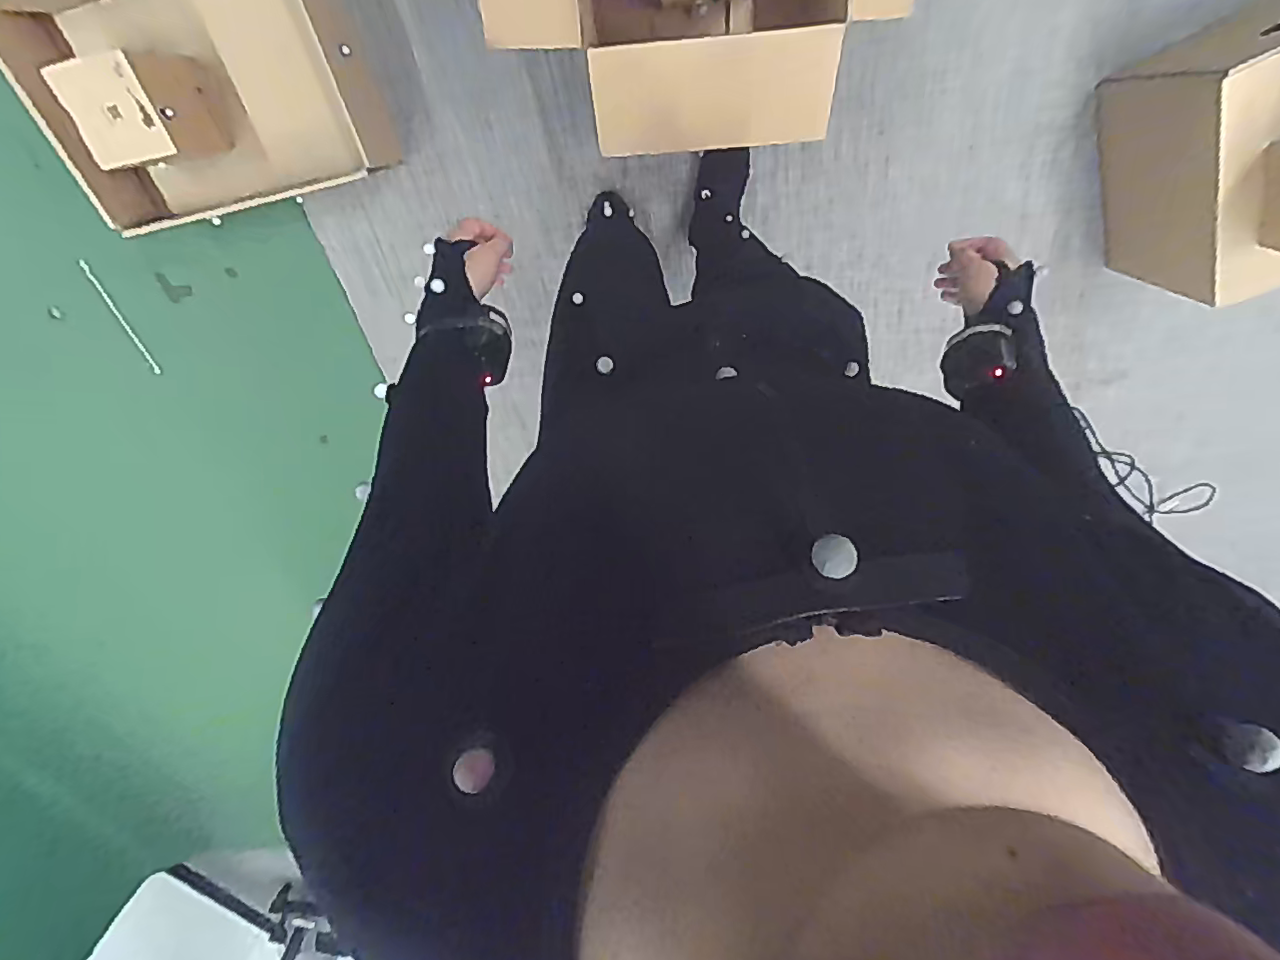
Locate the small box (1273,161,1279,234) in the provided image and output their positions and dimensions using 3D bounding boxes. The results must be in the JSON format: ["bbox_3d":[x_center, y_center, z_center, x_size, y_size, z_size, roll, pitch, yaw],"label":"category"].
[{"bbox_3d":[1.110,-0.462,0.798,0.168,0.176,0.179,-21,120,19],"label":"small box"}]

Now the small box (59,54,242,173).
[{"bbox_3d":[-0.967,-0.729,1.089,0.179,0.176,0.168,-7,122,9],"label":"small box"}]
